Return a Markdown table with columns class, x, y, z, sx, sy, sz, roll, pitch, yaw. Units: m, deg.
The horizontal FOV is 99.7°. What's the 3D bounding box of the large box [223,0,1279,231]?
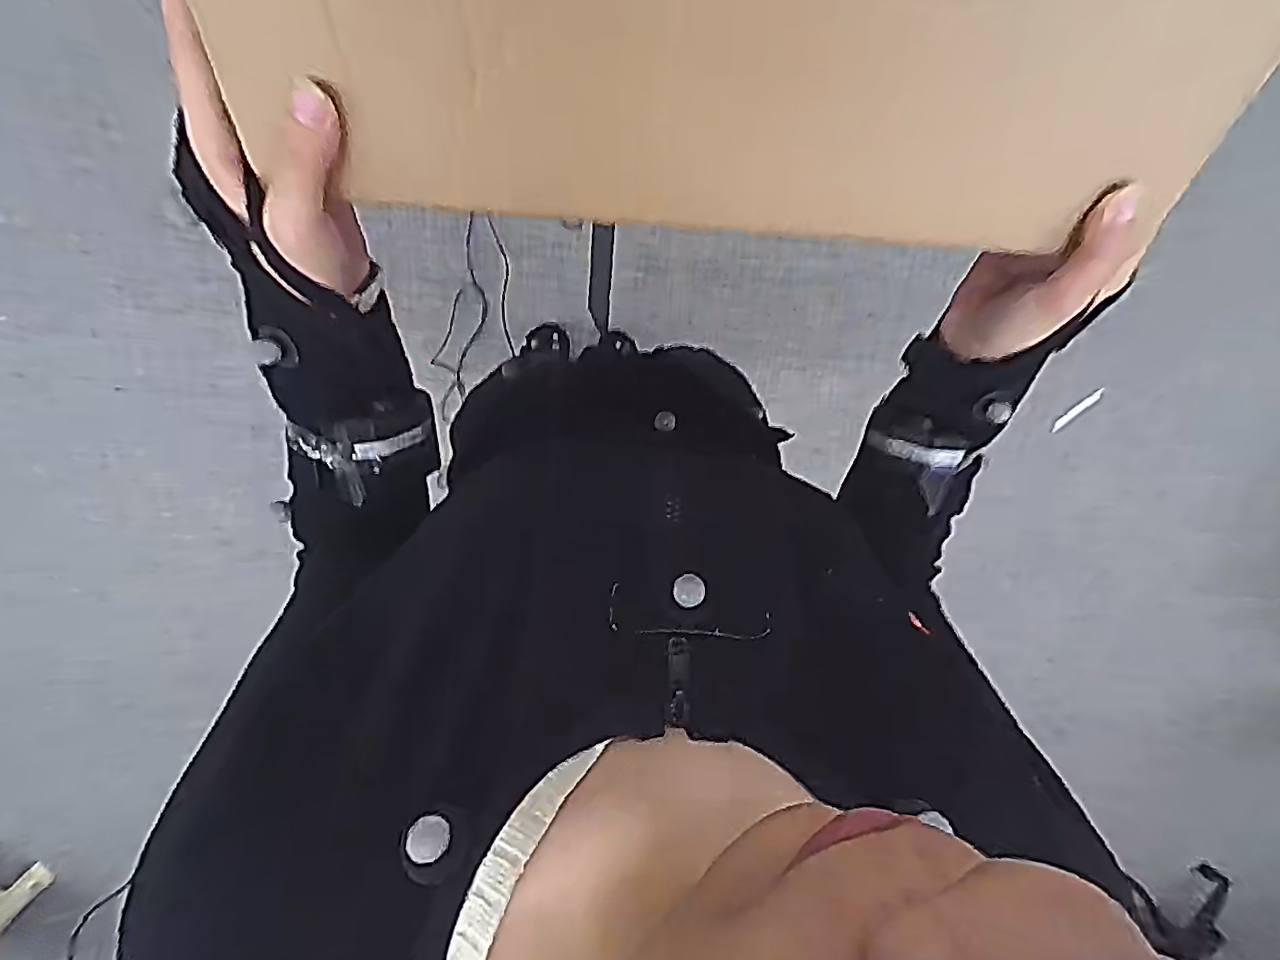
| class | x | y | z | sx | sy | sz | roll | pitch | yaw |
| --- | --- | --- | --- | --- | --- | --- | --- | --- | --- |
| large box | 0.045 | -0.336 | 0.253 | 0.408 | 0.320 | 0.320 | 0 | 135 | -6 |
